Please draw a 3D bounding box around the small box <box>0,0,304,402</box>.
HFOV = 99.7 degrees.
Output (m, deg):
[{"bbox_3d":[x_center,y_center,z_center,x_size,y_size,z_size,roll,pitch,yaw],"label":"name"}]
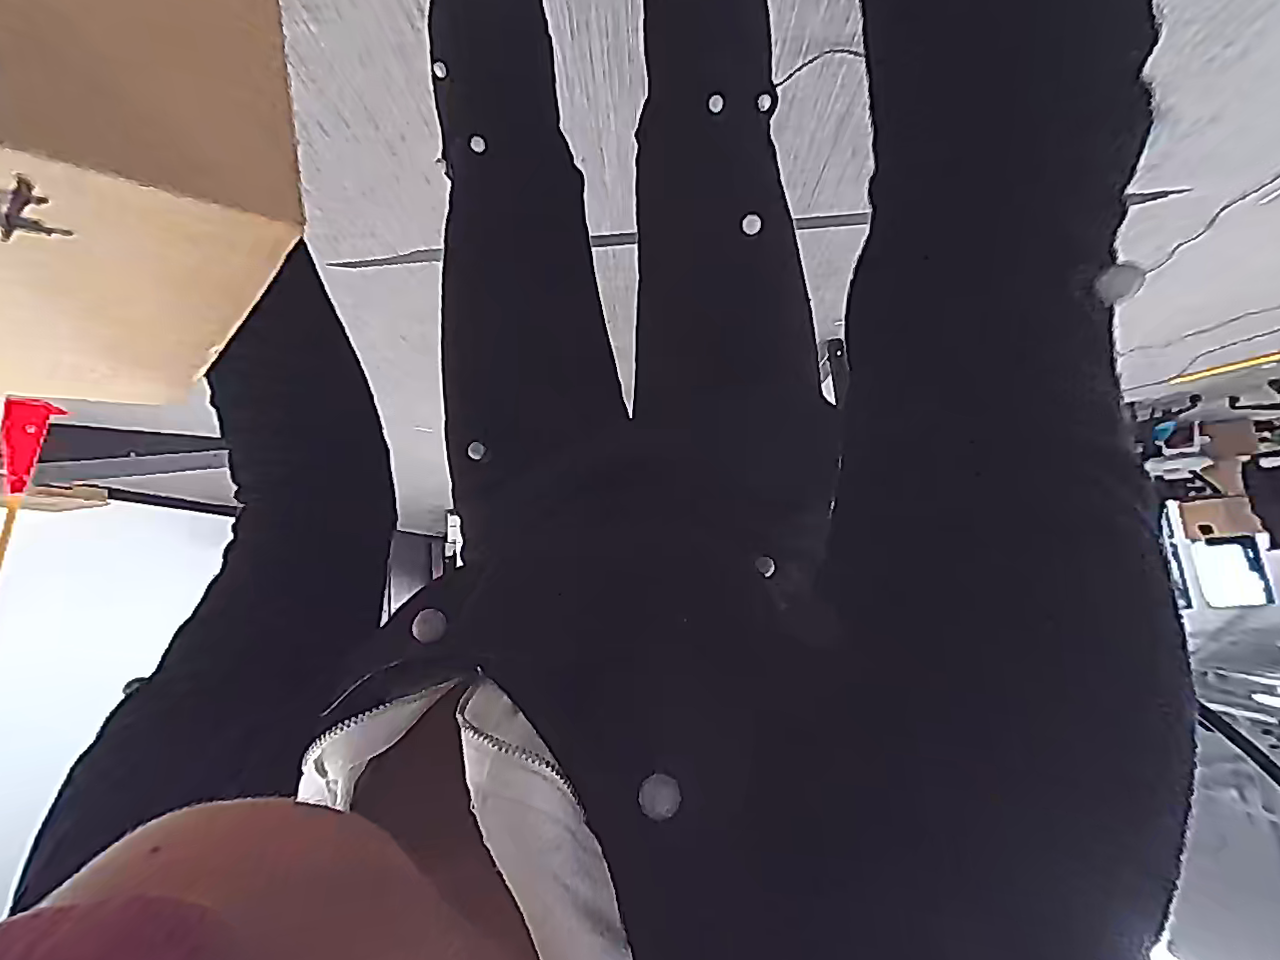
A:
[{"bbox_3d":[-0.209,-0.127,0.133,0.179,0.176,0.168,-12,175,39],"label":"small box"}]
